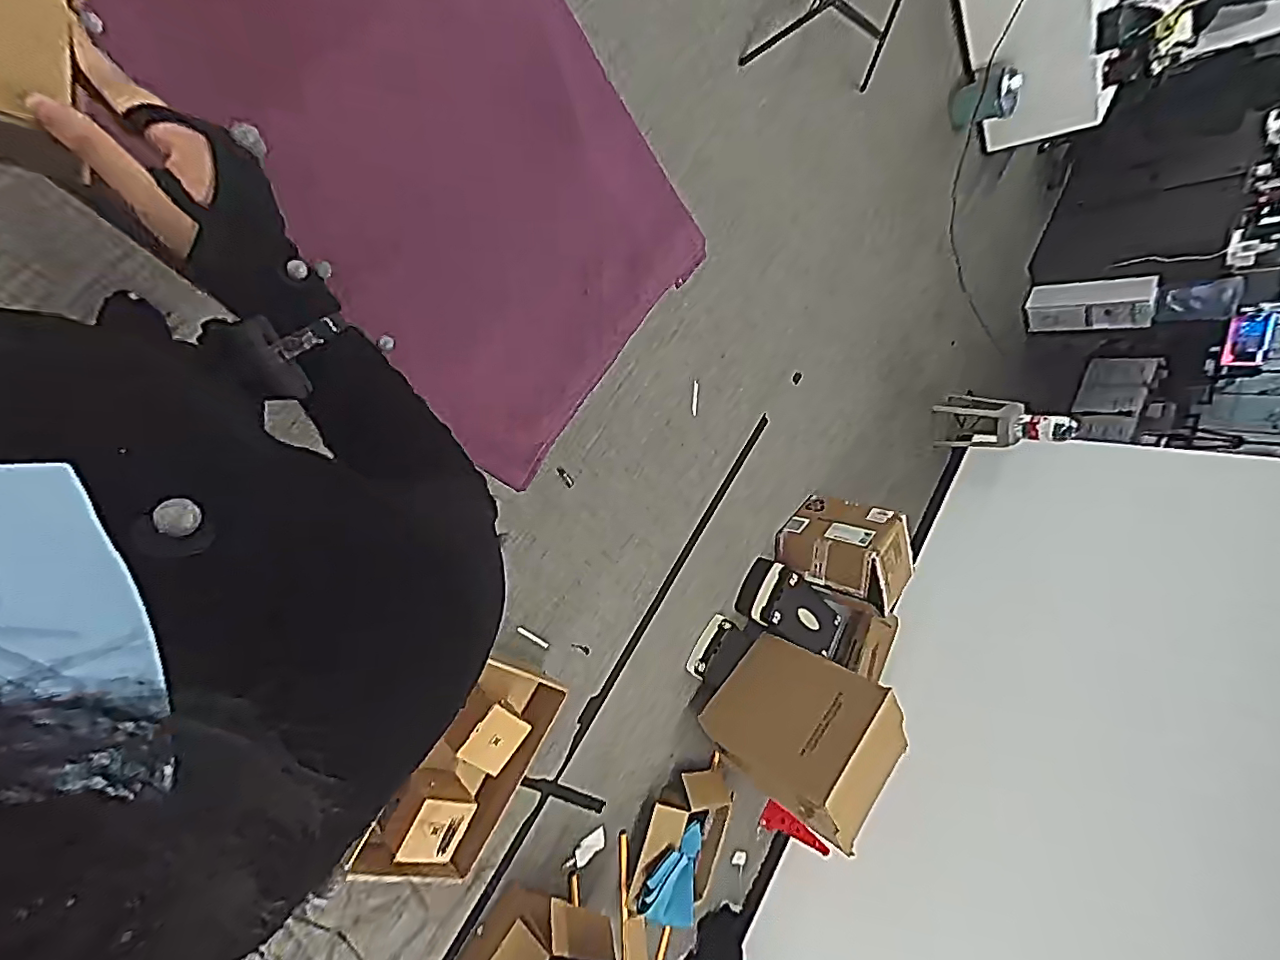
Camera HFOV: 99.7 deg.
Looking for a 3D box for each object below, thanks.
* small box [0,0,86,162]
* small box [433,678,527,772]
[{"bbox_3d":[-0.414,-0.298,0.285,0.168,0.176,0.179,-1,103,-44],"label":"small box"},{"bbox_3d":[-0.478,0.723,1.613,0.168,0.176,0.179,-51,128,-19],"label":"small box"}]
